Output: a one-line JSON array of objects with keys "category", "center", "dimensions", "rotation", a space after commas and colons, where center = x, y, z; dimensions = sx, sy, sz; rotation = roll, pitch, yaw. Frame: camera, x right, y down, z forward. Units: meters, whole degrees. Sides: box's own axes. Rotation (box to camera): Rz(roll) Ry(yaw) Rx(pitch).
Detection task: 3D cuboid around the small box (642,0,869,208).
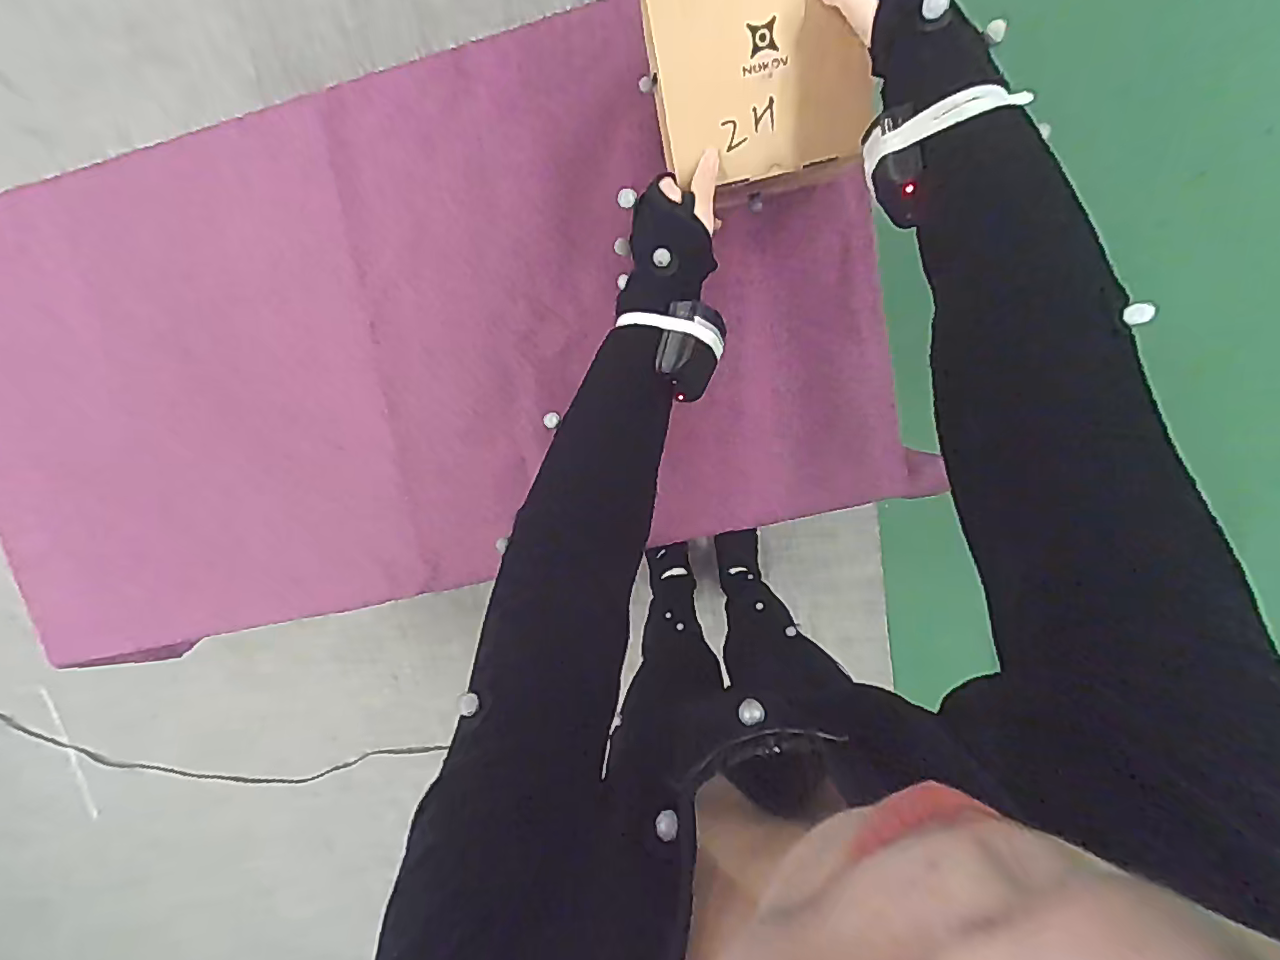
[{"category": "small box", "center": [0.094, -0.368, 0.494], "dimensions": [0.168, 0.176, 0.179], "rotation": [-9, 110, 7]}]
